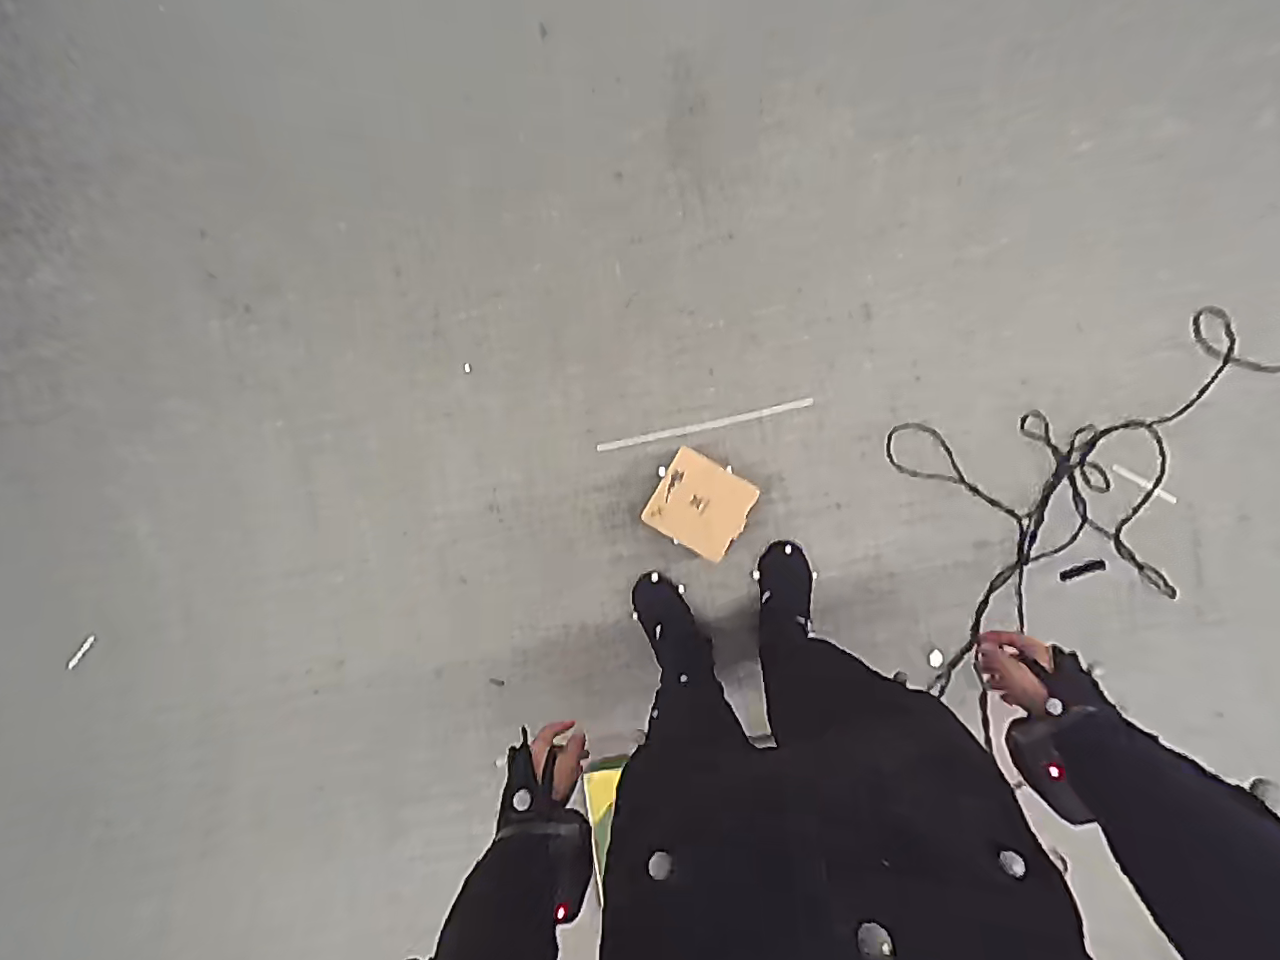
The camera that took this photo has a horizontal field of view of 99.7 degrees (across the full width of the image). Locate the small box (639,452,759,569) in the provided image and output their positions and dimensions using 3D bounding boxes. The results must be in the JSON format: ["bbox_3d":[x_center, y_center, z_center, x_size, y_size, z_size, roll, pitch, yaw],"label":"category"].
[{"bbox_3d":[0.117,0.058,1.104,0.179,0.176,0.168,31,91,4],"label":"small box"}]
